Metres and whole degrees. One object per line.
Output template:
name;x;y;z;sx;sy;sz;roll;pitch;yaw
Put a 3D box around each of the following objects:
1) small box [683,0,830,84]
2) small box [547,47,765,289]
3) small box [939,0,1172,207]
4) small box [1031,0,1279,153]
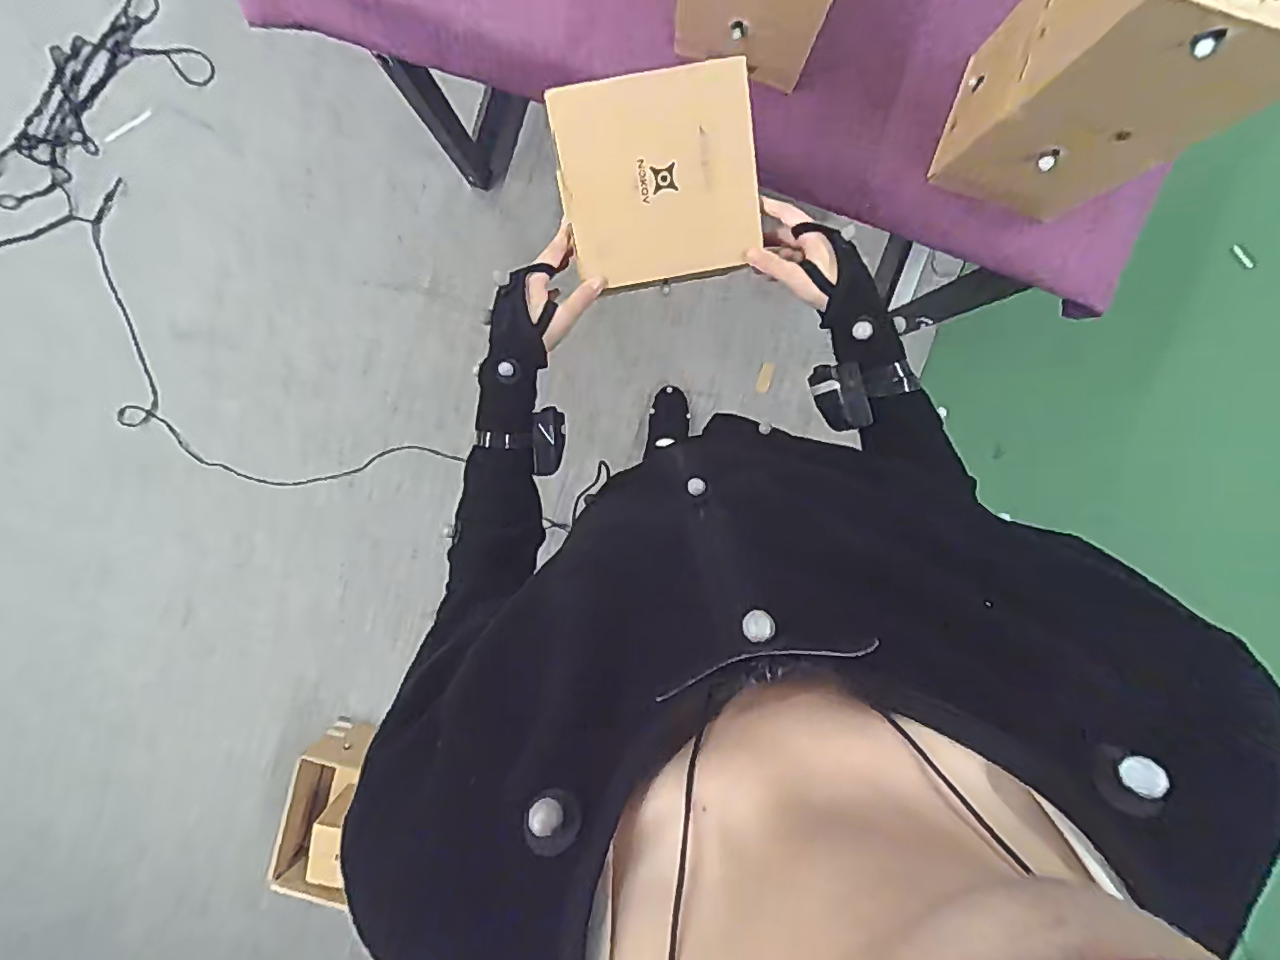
small box;0.153;-0.612;0.624;0.168;0.176;0.179;19;95;0
small box;0.017;-0.297;0.555;0.179;0.176;0.168;-10;108;1
small box;0.495;-0.446;0.629;0.179;0.176;0.168;18;97;1
small box;0.490;-0.430;0.466;0.168;0.176;0.179;19;96;2
